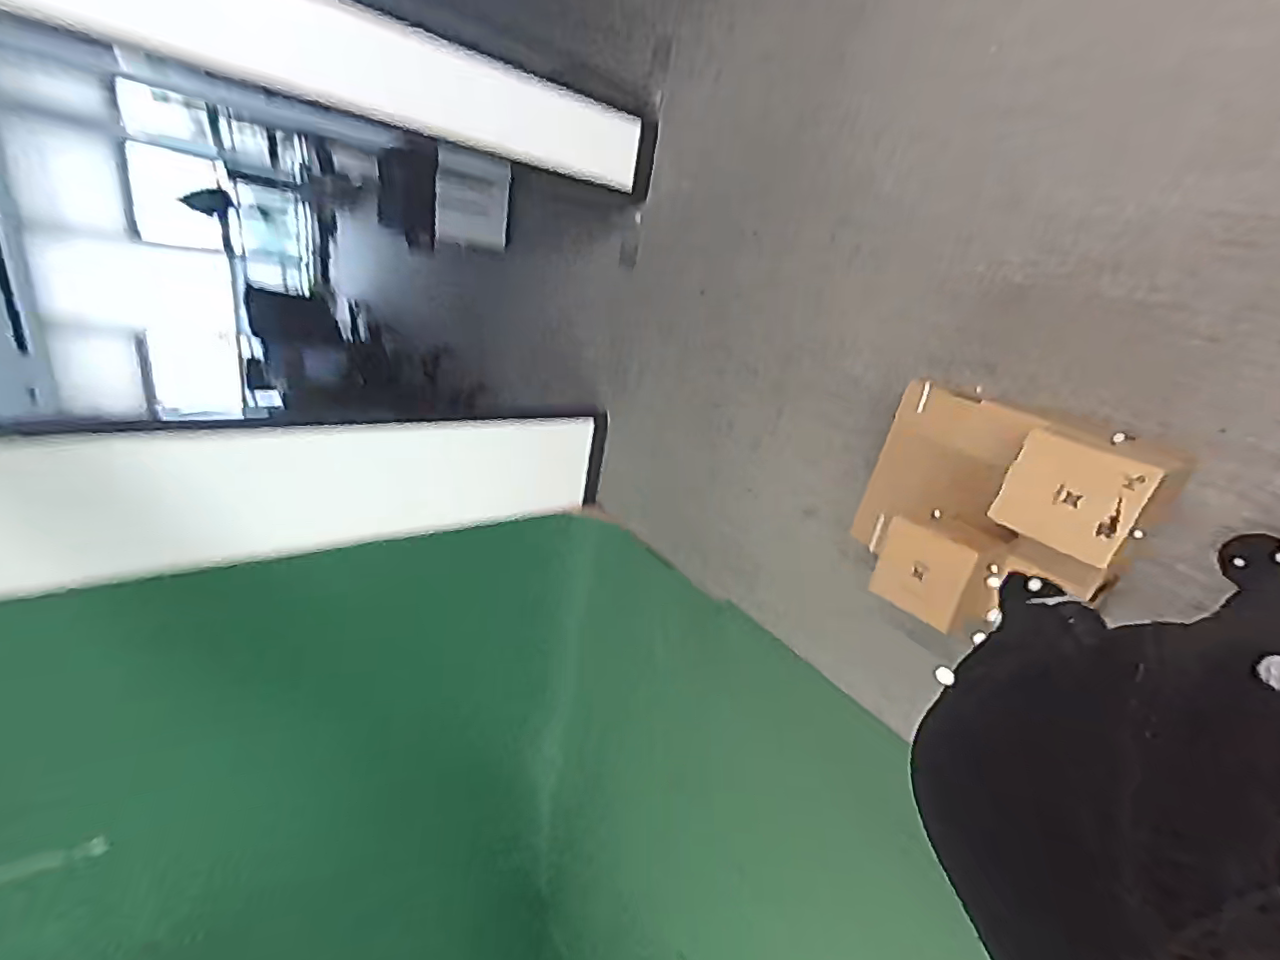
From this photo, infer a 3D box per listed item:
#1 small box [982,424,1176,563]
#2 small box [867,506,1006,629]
[{"bbox_3d":[0.722,0.015,0.894,0.179,0.176,0.168,37,122,45],"label":"small box"},{"bbox_3d":[0.596,0.164,1.086,0.168,0.176,0.179,34,122,47],"label":"small box"}]
